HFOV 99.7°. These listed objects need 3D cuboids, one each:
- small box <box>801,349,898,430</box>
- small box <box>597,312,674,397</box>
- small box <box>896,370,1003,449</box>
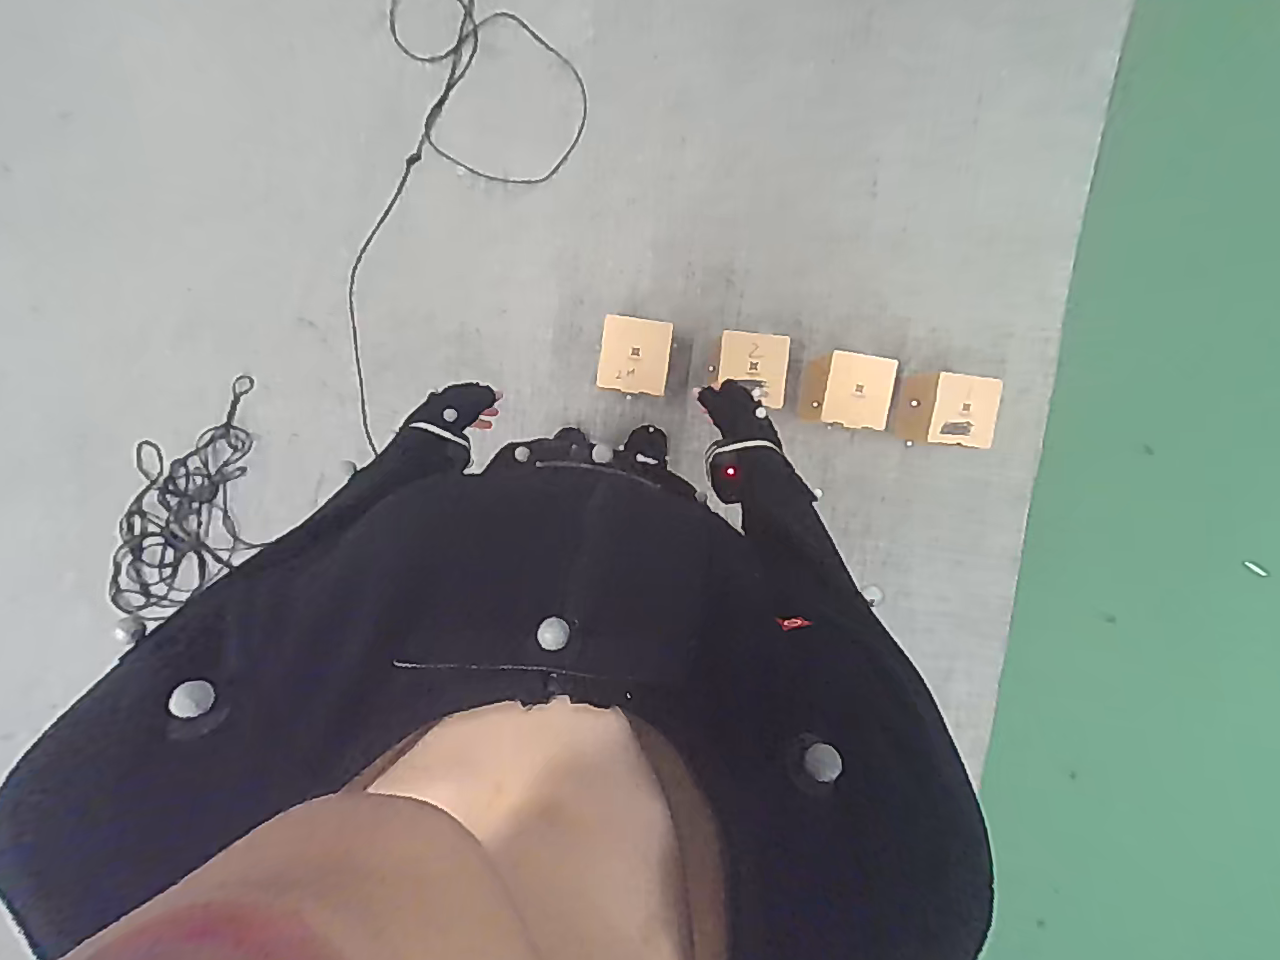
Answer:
[{"bbox_3d":[0.529,-0.229,1.391,0.168,0.176,0.179,8,97,-3],"label":"small box"},{"bbox_3d":[-0.013,-0.309,1.361,0.168,0.176,0.179,8,97,-2],"label":"small box"},{"bbox_3d":[0.794,-0.182,1.405,0.168,0.176,0.179,8,96,-3],"label":"small box"}]
